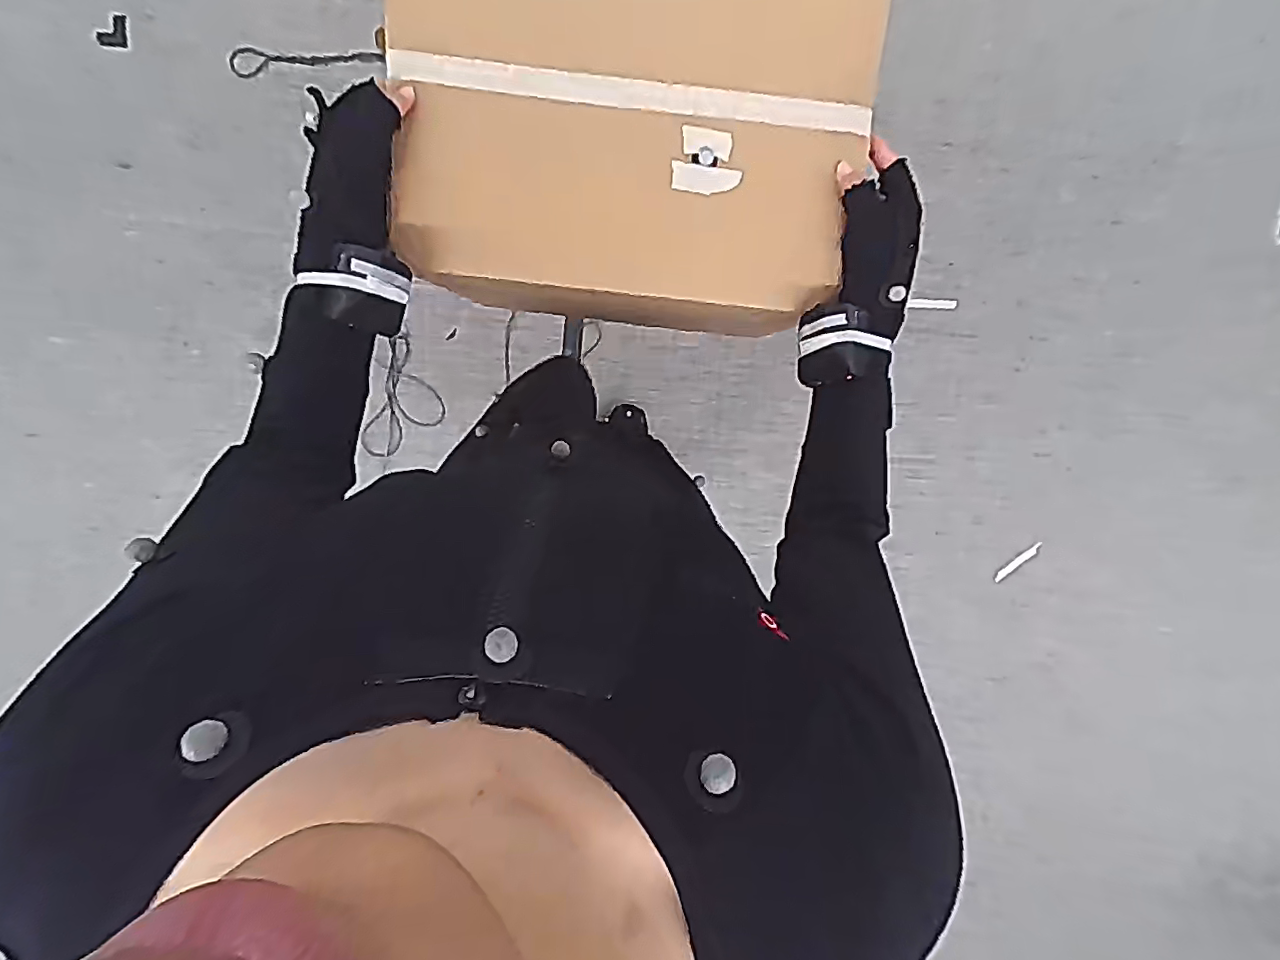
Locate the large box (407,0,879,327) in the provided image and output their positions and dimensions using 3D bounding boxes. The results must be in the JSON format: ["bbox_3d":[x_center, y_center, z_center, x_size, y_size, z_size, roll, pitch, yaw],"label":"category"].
[{"bbox_3d":[-0.007,-0.360,0.616,0.408,0.320,0.320,5,102,-3],"label":"large box"}]
